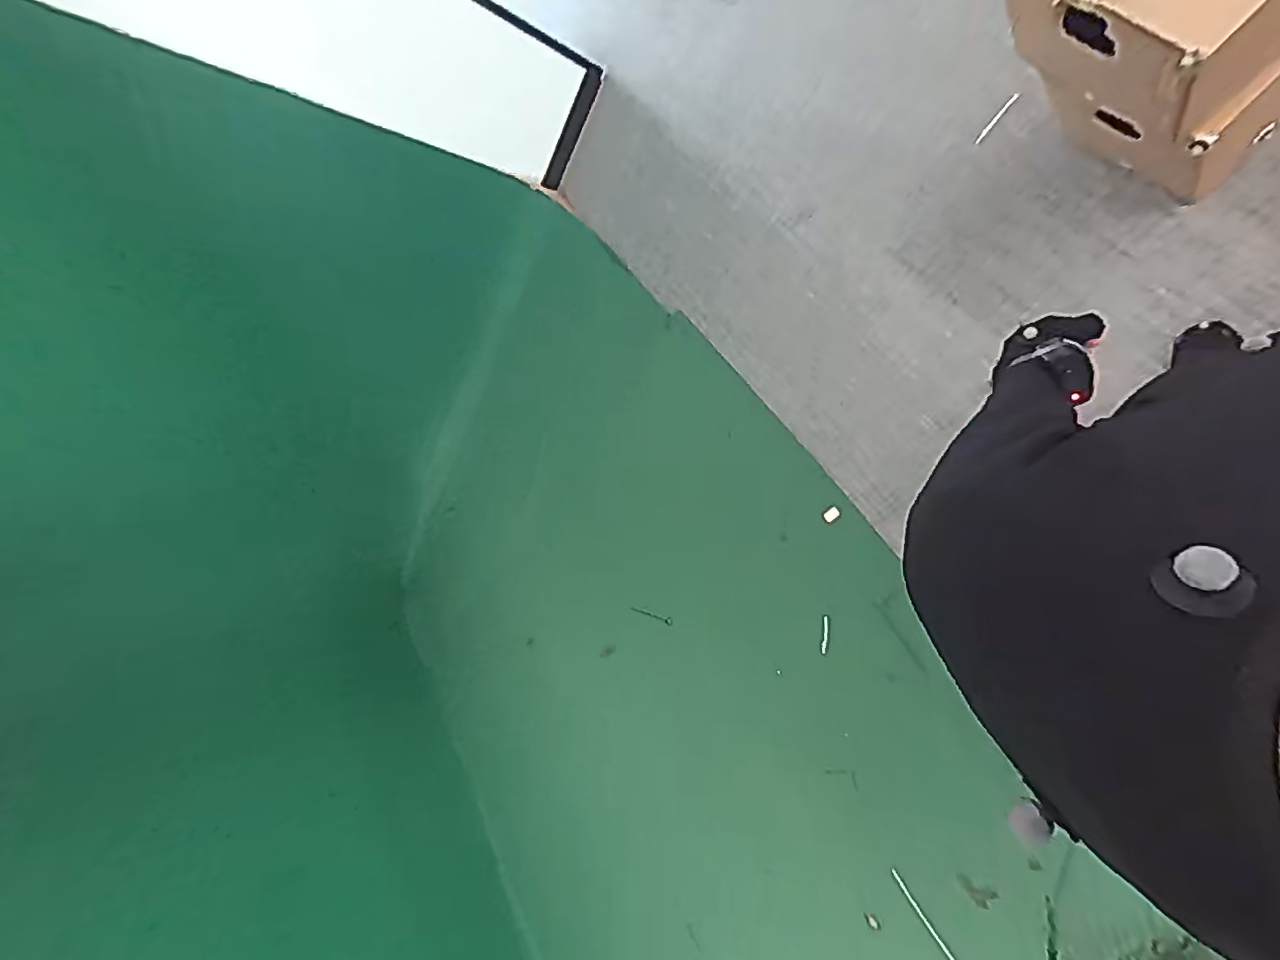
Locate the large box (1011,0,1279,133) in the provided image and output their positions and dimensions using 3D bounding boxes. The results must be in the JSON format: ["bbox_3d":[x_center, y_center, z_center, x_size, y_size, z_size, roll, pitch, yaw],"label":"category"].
[{"bbox_3d":[0.759,-0.753,0.673,0.320,0.320,0.408,53,128,21],"label":"large box"}]
